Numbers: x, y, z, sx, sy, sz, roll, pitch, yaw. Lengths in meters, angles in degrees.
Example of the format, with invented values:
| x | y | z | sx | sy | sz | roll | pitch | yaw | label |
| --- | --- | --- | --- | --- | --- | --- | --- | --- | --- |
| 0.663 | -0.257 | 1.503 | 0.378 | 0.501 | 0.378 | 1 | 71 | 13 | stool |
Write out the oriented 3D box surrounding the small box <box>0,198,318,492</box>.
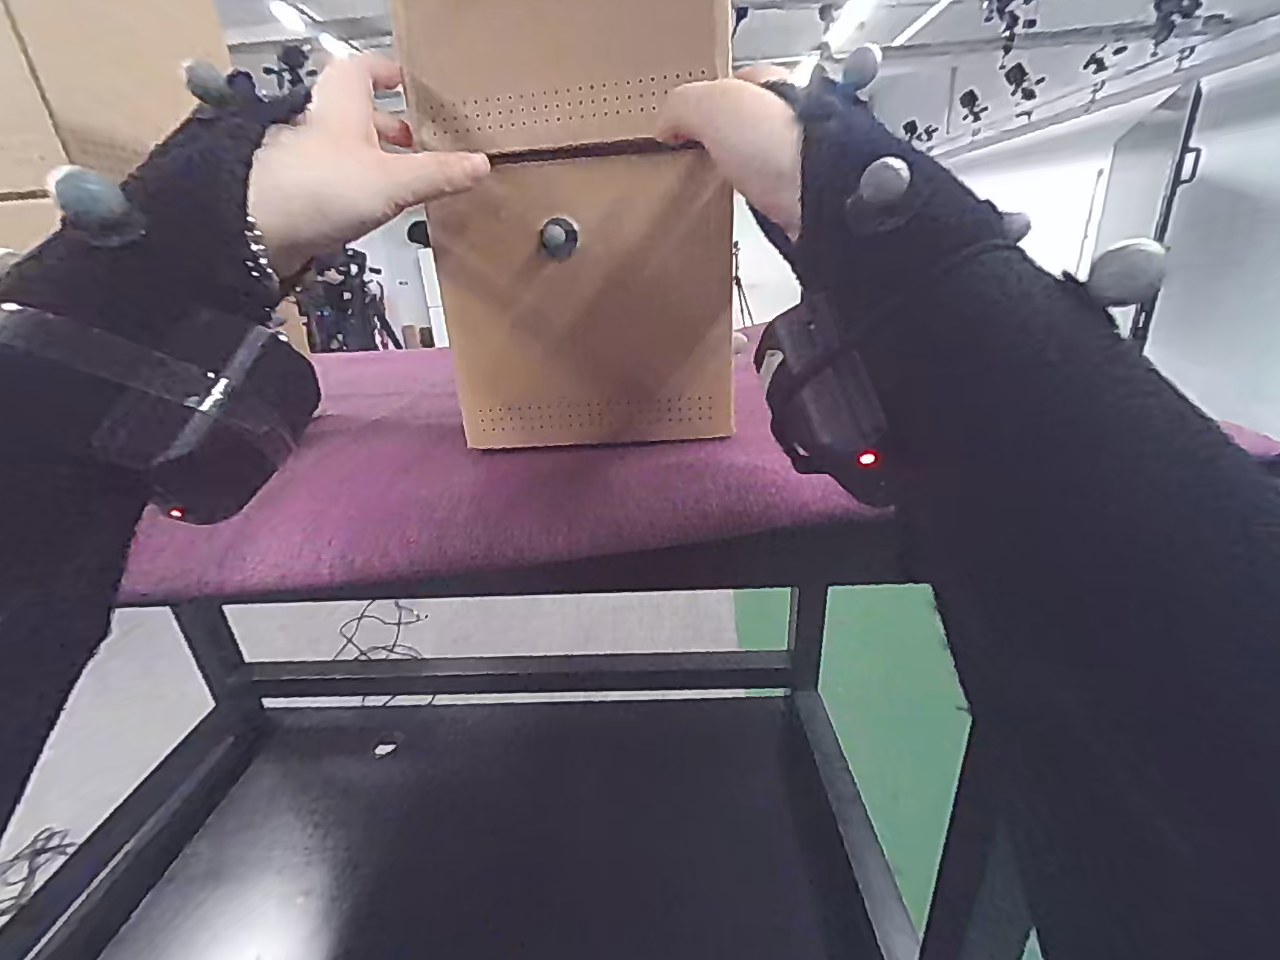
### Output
| x | y | z | sx | sy | sz | roll | pitch | yaw | label |
| --- | --- | --- | --- | --- | --- | --- | --- | --- | --- |
| -0.376 | -0.099 | 0.393 | 0.179 | 0.176 | 0.168 | -4 | 22 | 2 | small box |

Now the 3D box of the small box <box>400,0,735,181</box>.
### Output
| x | y | z | sx | sy | sz | roll | pitch | yaw | label |
| --- | --- | --- | --- | --- | --- | --- | --- | --- | --- |
| -0.034 | -0.278 | 0.337 | 0.179 | 0.176 | 0.168 | -2 | 21 | 7 | small box |

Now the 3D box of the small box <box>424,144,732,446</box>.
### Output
| x | y | z | sx | sy | sz | roll | pitch | yaw | label |
| --- | --- | --- | --- | --- | --- | --- | --- | --- | --- |
| -0.027 | -0.125 | 0.398 | 0.179 | 0.176 | 0.168 | -2 | 21 | 4 | small box |
